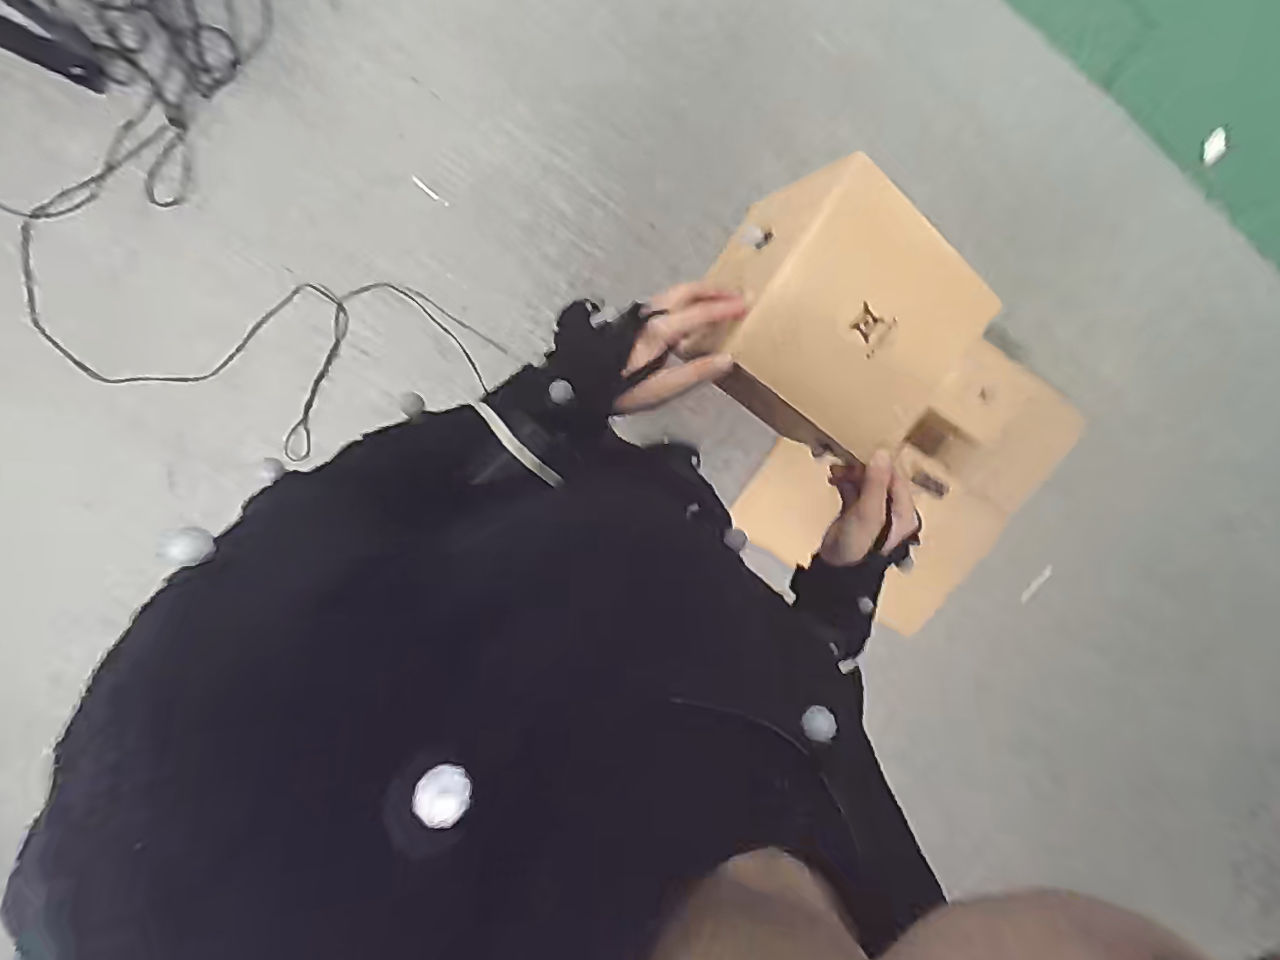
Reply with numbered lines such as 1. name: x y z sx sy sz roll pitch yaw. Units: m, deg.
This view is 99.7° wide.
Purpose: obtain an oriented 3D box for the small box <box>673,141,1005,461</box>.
1. small box: 0.153 -0.142 0.474 0.179 0.176 0.168 31 97 -20

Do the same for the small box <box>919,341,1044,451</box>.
1. small box: 0.720 -0.190 1.195 0.179 0.176 0.168 34 100 -5
